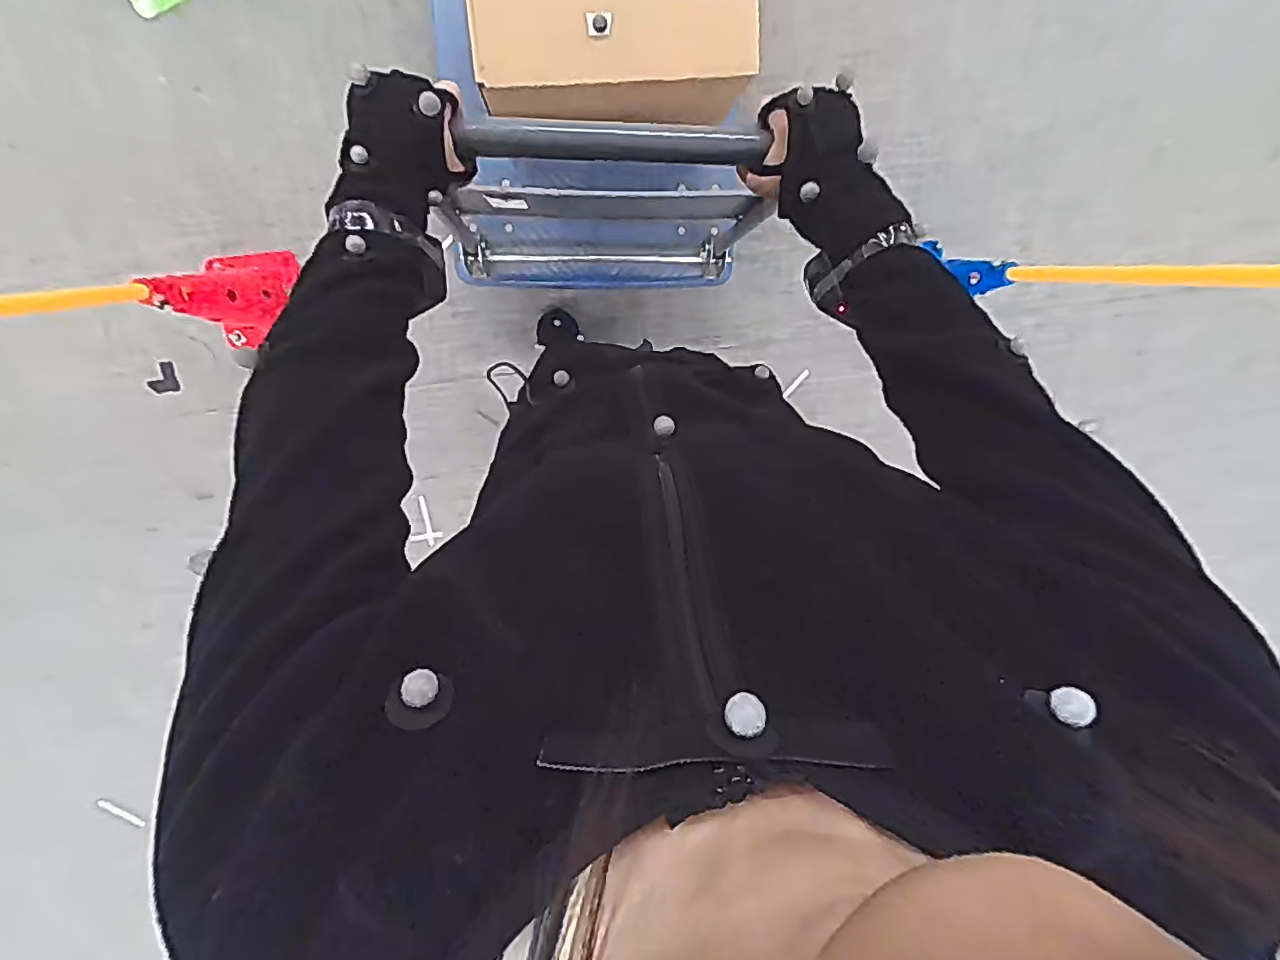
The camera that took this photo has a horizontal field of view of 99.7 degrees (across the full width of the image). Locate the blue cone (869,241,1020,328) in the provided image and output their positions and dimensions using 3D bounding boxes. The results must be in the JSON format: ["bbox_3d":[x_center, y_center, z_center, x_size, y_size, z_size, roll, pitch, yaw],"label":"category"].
[{"bbox_3d":[0.696,-0.452,1.216,0.193,0.380,0.192,-11,105,-3],"label":"blue cone"}]
